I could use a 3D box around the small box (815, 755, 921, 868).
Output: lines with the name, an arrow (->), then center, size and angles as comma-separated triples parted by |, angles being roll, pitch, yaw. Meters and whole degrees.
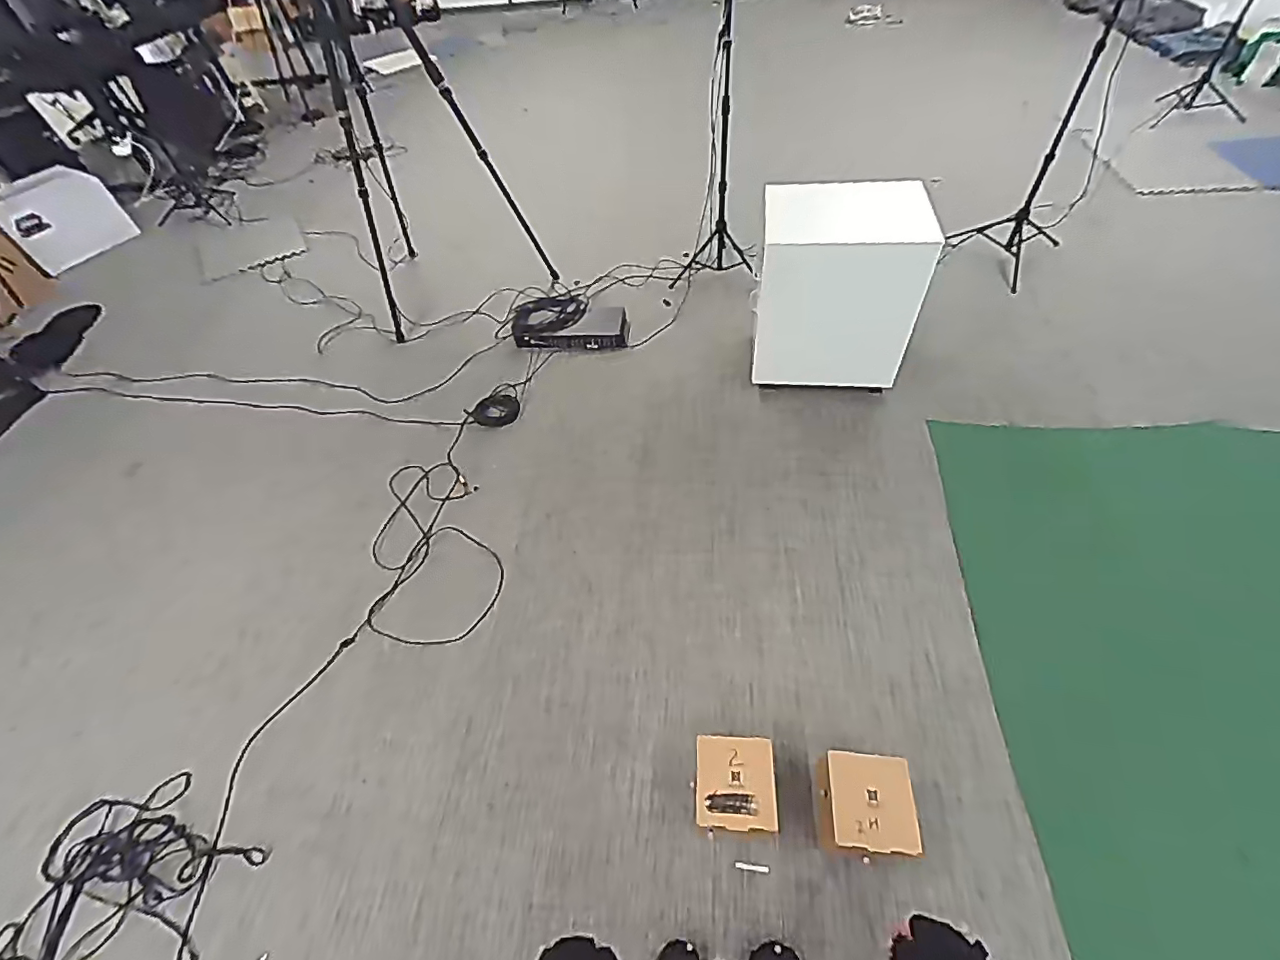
small box -> 0.481, 0.718, 1.170 | 0.168, 0.176, 0.179 | 2, 52, 9
